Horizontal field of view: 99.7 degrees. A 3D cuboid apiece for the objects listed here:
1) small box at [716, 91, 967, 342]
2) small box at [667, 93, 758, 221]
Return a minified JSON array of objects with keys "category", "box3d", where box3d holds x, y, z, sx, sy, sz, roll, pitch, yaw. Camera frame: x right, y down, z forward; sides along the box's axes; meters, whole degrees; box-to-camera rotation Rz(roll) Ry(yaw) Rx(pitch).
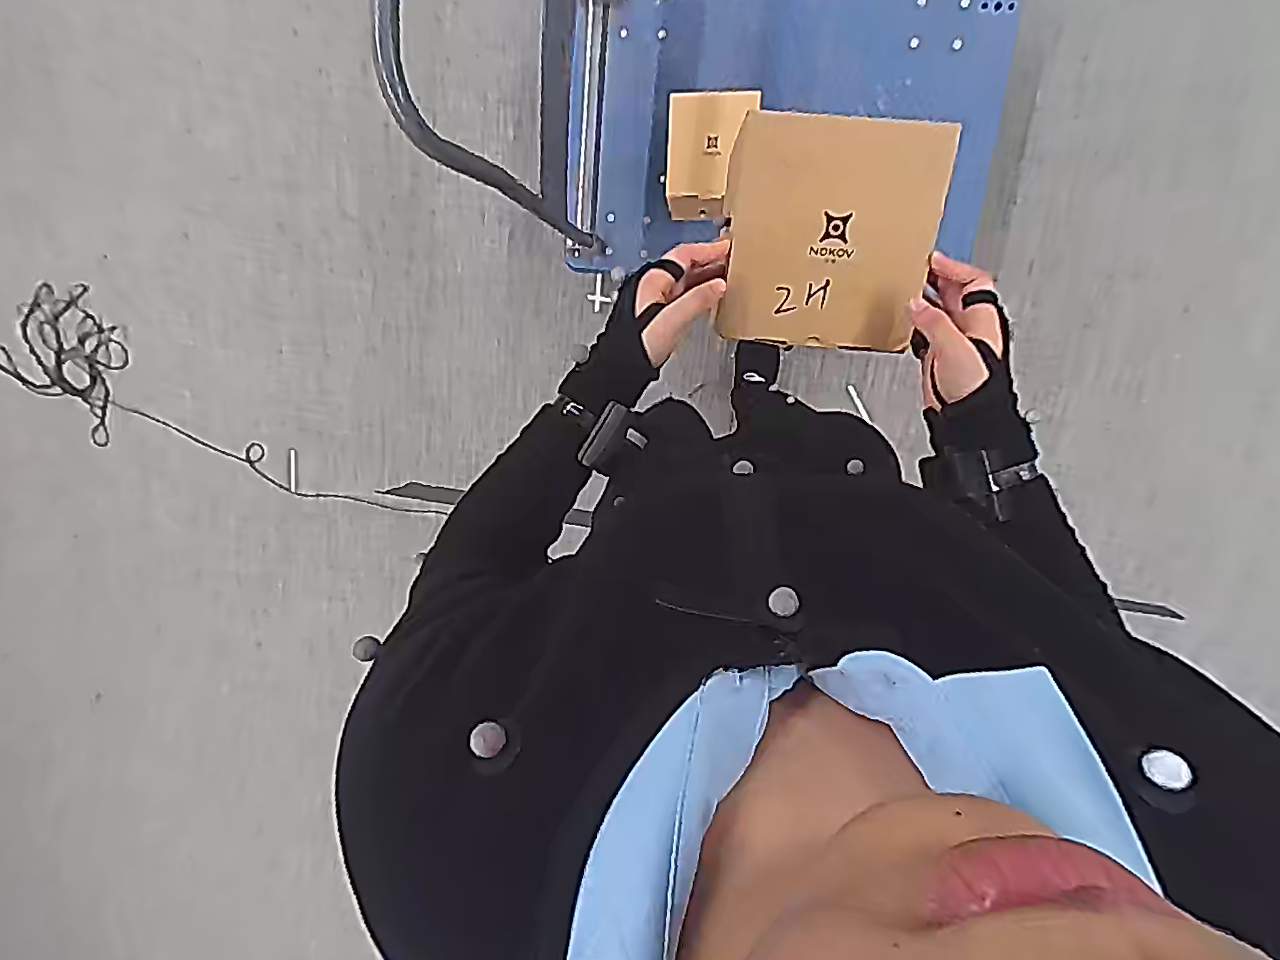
[{"category":"small box","box3d":[0.165,-0.234,0.511,0.168,0.176,0.179,5,111,3]},{"category":"small box","box3d":[0.143,-0.629,1.069,0.168,0.176,0.179,3,103,6]}]
